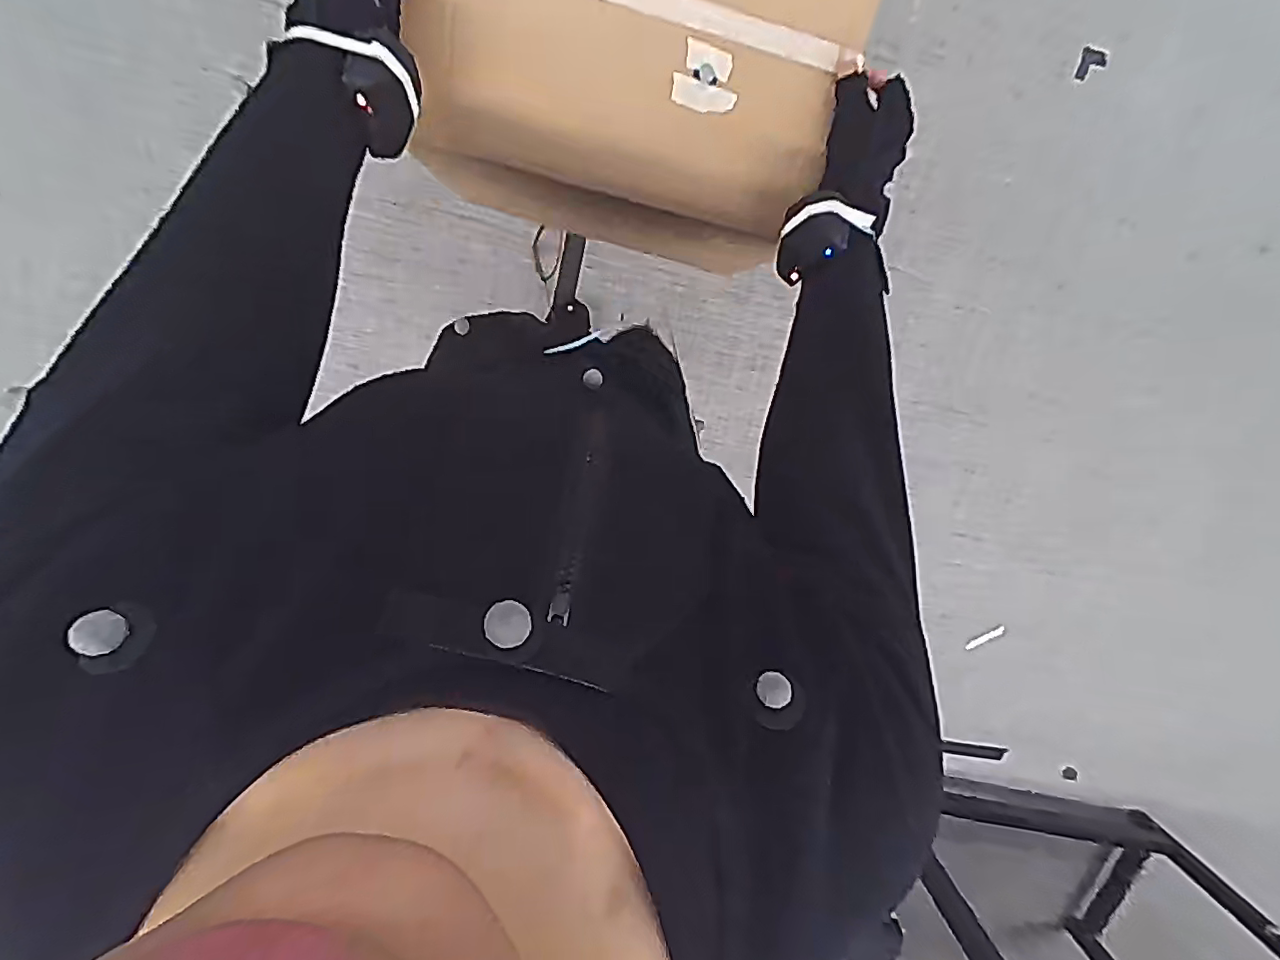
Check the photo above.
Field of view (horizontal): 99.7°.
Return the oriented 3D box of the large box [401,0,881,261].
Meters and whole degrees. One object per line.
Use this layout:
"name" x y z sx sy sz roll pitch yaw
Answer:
"large box" -0.002 -0.467 0.610 0.408 0.320 0.320 12 107 -9
